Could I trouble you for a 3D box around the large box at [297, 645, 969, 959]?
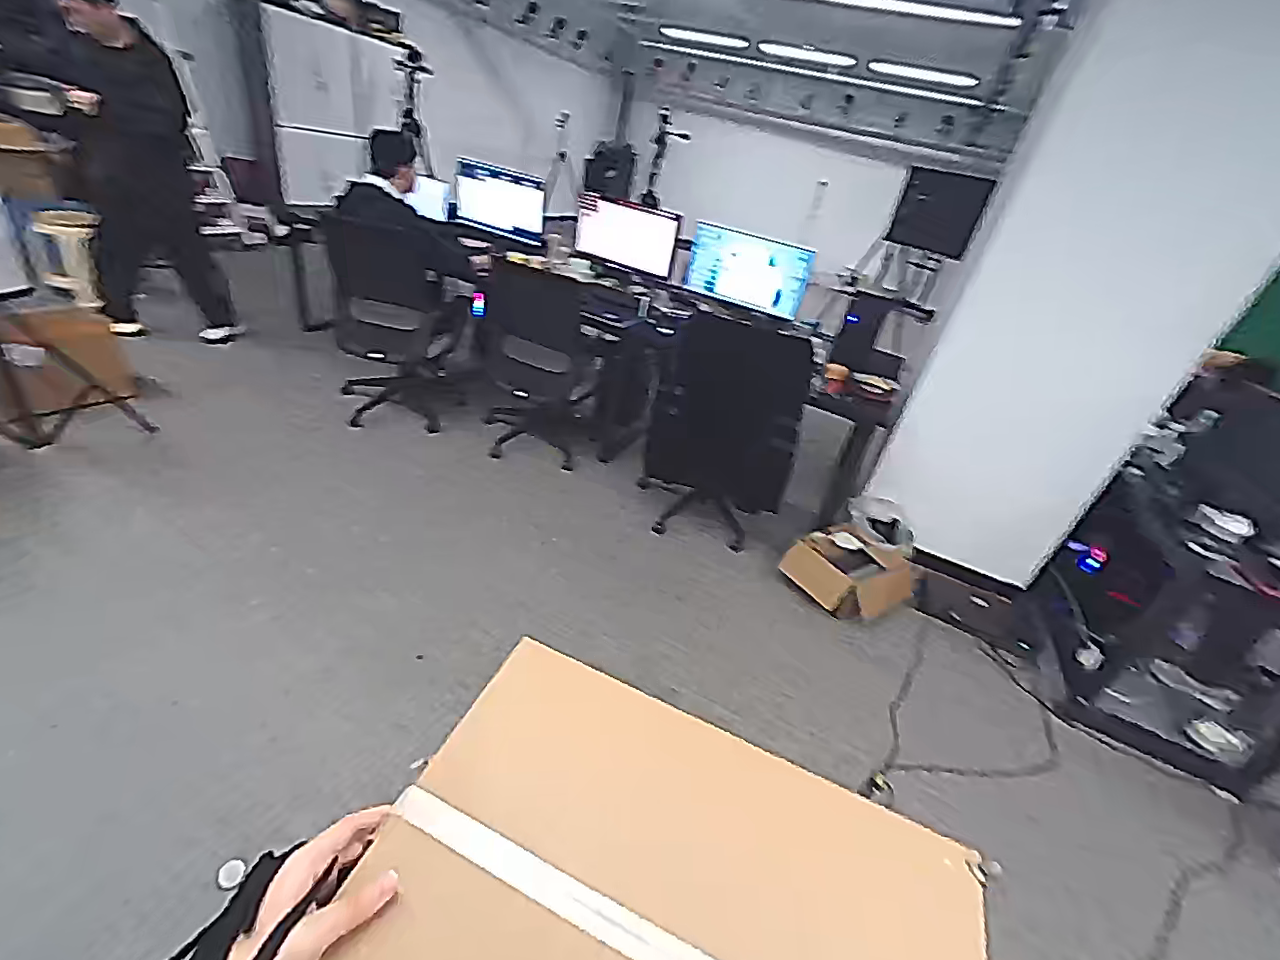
[{"bbox_3d":[-0.008,0.416,0.449,0.408,0.320,0.320,21,42,14],"label":"large box"}]
